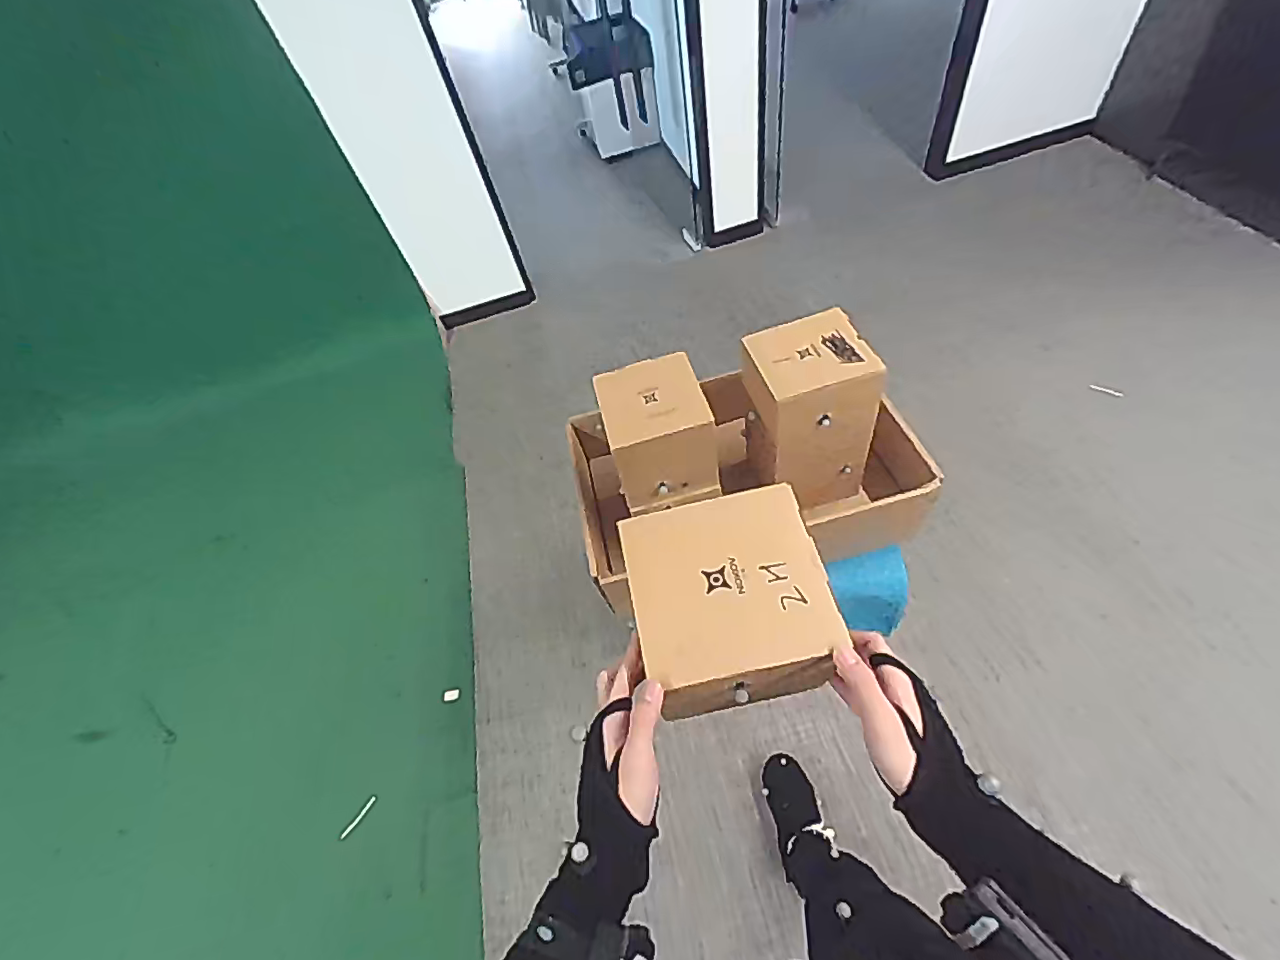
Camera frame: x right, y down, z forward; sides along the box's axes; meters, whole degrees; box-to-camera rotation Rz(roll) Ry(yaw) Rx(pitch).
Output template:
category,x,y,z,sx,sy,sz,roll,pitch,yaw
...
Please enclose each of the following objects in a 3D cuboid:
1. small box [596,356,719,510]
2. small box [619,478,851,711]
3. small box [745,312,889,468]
category,x,y,z,sx,sy,sz,roll,pitch,yaw
small box,0.032,-0.078,0.924,0.168,0.176,0.179,-16,52,0
small box,0.088,0.125,0.553,0.179,0.176,0.168,-13,58,0
small box,0.287,-0.149,0.917,0.179,0.176,0.168,-17,51,1
